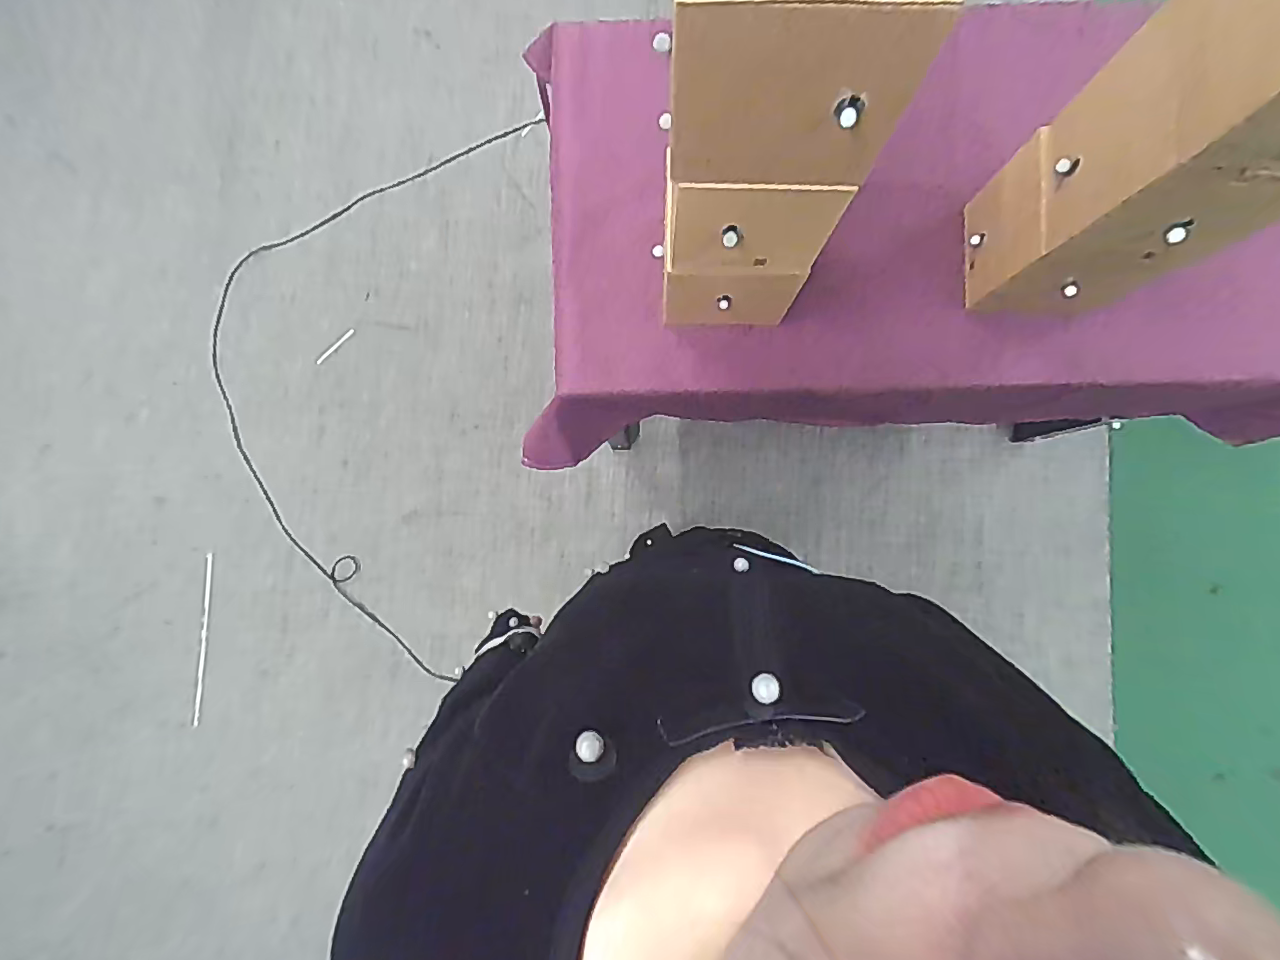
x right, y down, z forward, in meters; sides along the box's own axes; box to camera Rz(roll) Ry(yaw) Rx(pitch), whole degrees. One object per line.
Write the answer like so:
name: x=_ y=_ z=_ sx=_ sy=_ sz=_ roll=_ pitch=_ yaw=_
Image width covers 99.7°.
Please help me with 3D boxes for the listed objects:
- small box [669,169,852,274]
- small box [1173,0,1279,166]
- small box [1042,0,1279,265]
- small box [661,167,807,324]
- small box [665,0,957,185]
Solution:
small box: x=0.118 y=-0.339 z=0.579 sx=0.168 sy=0.176 sz=0.179 roll=2 pitch=84 yaw=2
small box: x=0.554 y=-0.360 z=0.401 sx=0.168 sy=0.176 sz=0.179 roll=4 pitch=85 yaw=2
small box: x=0.562 y=-0.347 z=0.566 sx=0.168 sy=0.176 sz=0.179 roll=5 pitch=86 yaw=2
small box: x=0.119 y=-0.323 z=0.741 sx=0.179 sy=0.176 sz=0.168 roll=1 pitch=85 yaw=2
small box: x=0.112 y=-0.355 z=0.417 sx=0.179 sy=0.176 sz=0.168 roll=3 pitch=83 yaw=2
